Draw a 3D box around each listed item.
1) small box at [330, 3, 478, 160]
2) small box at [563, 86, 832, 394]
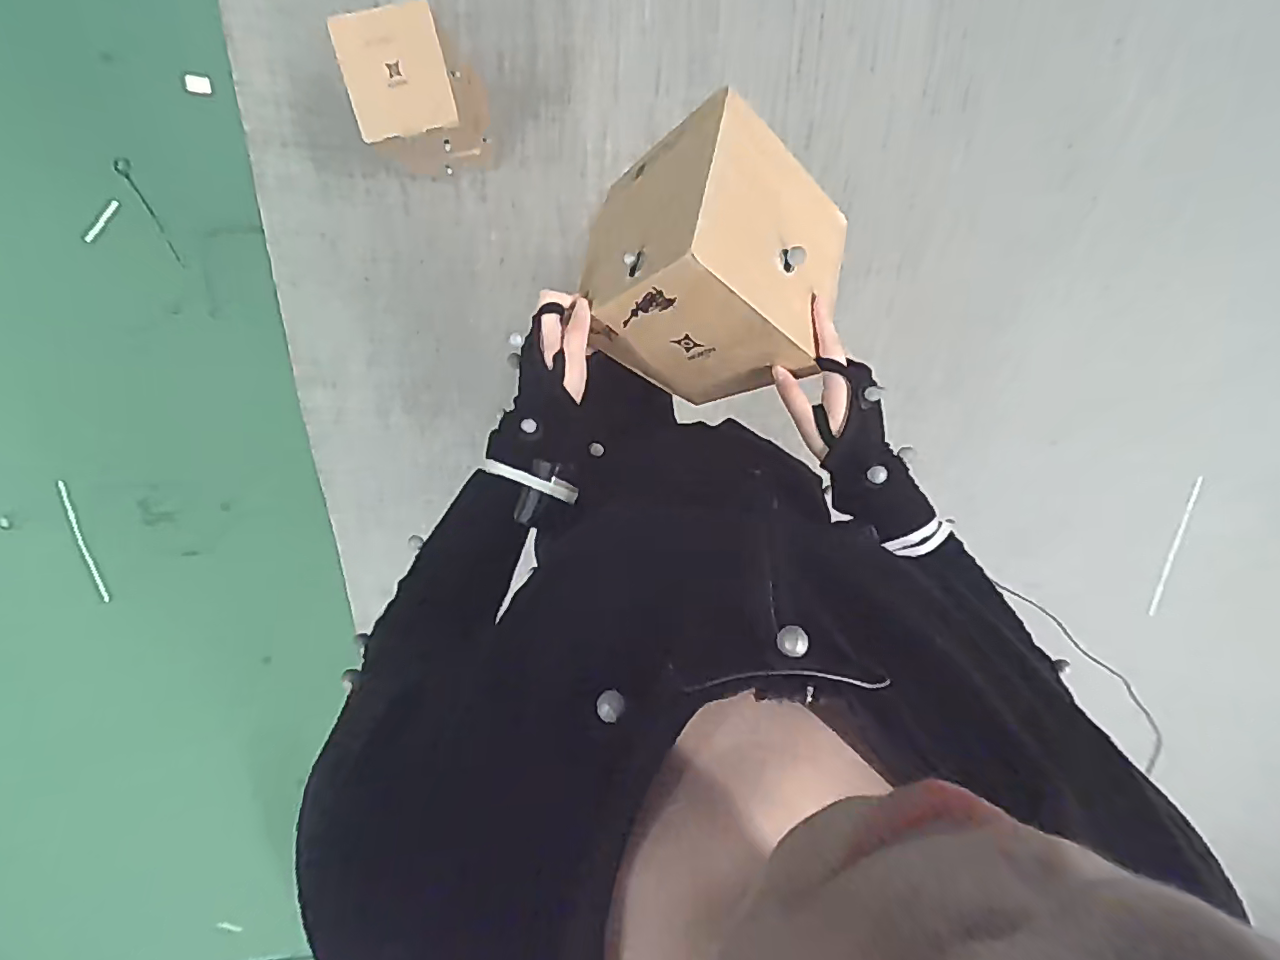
[{"bbox_3d":[-0.399,-0.683,0.952,0.168,0.176,0.179,-11,110,0],"label":"small box"},{"bbox_3d":[0.059,-0.206,0.507,0.179,0.168,0.176,25,70,-34],"label":"small box"}]
